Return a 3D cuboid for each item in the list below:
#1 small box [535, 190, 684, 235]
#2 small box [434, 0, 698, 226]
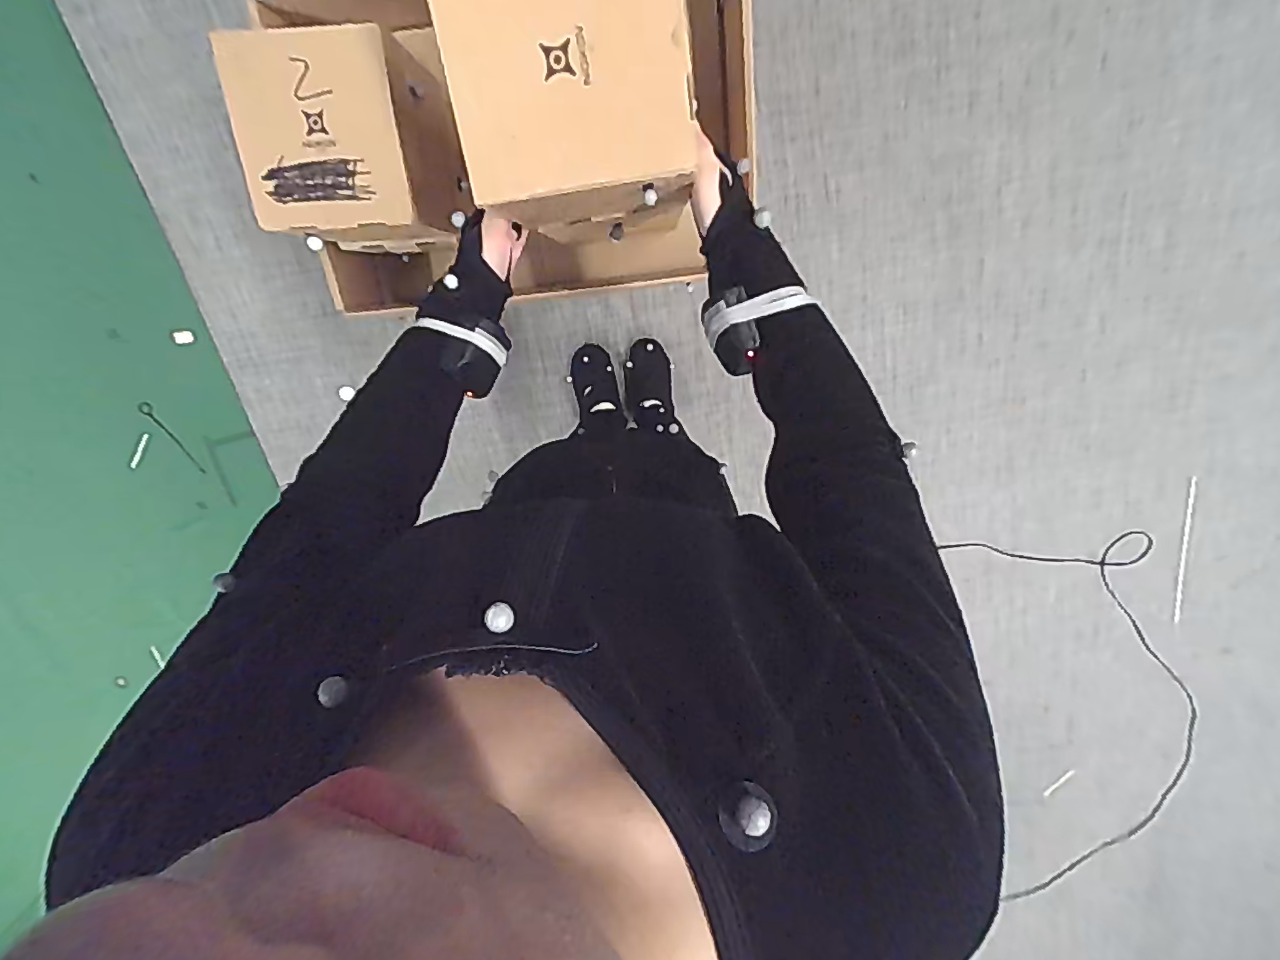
[{"bbox_3d":[-0.042,-0.384,0.614,0.168,0.176,0.179,-8,111,4],"label":"small box"},{"bbox_3d":[-0.049,-0.324,0.462,0.179,0.176,0.168,-8,110,3],"label":"small box"}]
